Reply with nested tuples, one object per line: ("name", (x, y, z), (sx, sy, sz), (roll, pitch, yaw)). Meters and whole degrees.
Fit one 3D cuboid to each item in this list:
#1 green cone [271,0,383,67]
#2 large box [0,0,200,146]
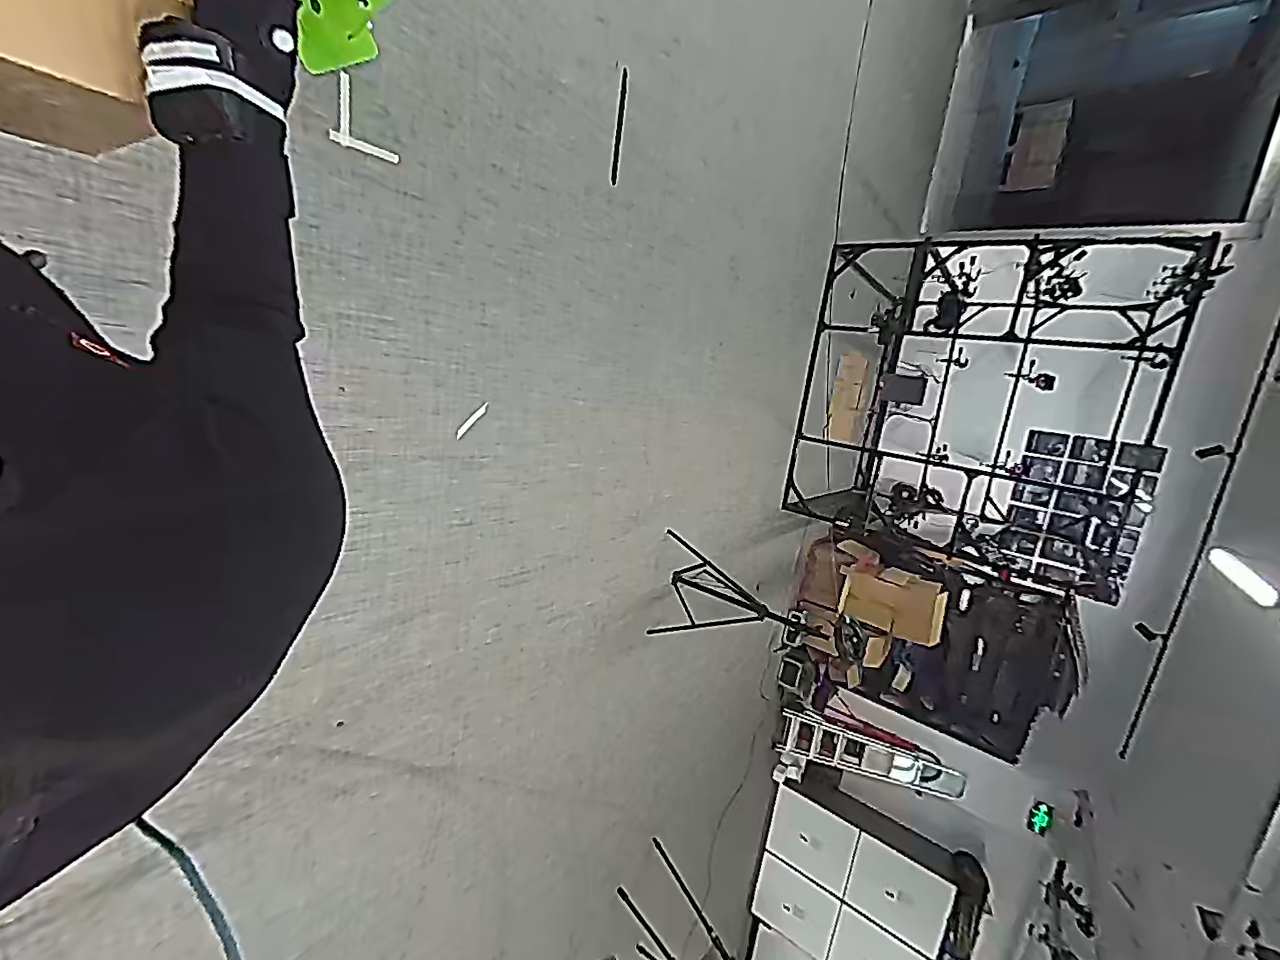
("green cone", (-0.586, -1.027, 1.121), (0.202, 0.368, 0.200), (-51, 140, -32))
("large box", (-0.543, -0.431, 0.287), (0.408, 0.320, 0.320), (-11, 114, -55))
